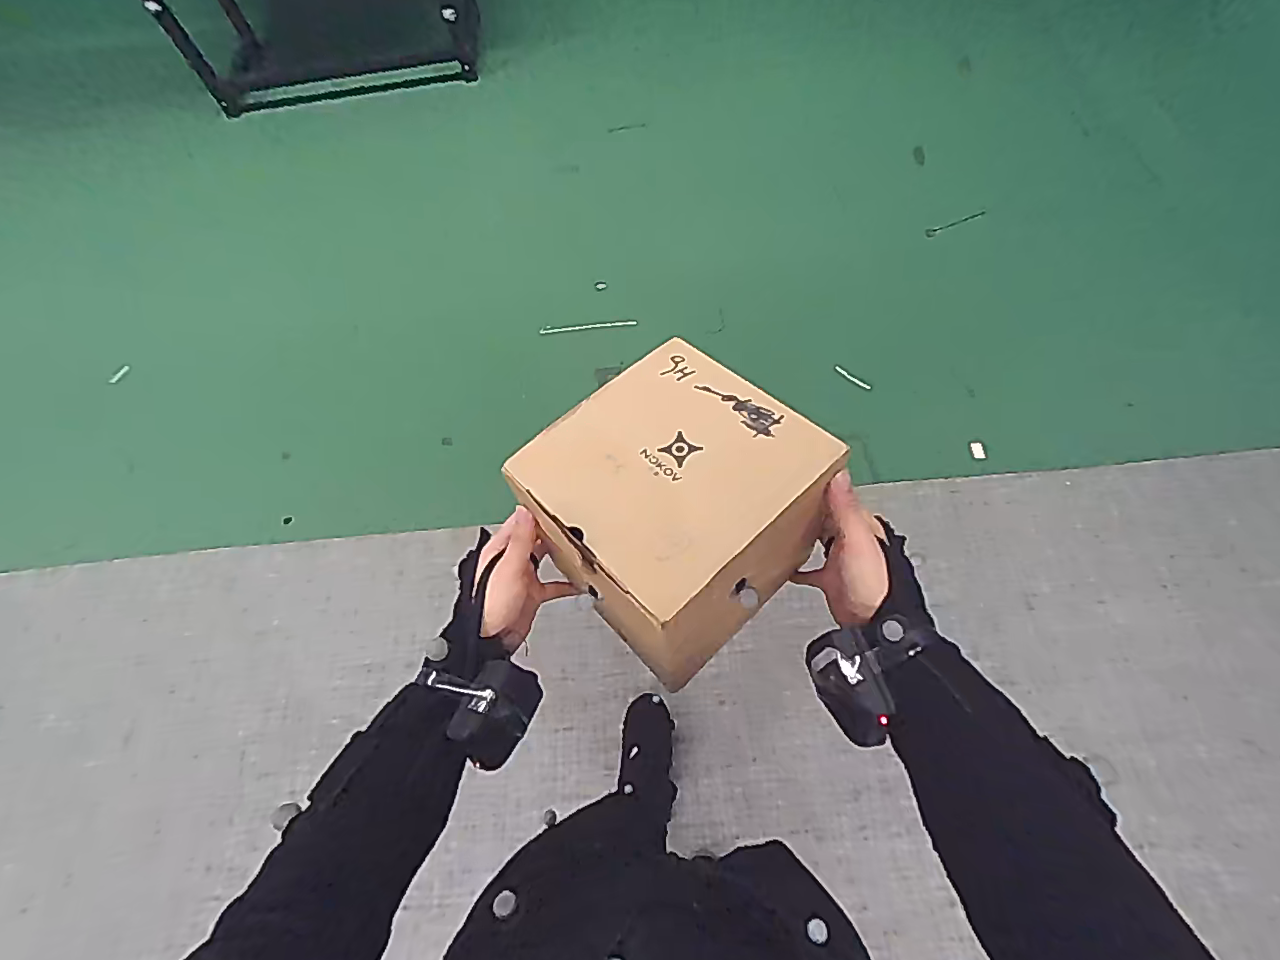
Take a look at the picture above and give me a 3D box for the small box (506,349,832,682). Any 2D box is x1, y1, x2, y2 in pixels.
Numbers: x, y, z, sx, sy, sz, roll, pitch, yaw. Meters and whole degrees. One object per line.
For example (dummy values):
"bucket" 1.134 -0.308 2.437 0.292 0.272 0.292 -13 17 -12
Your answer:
"small box" 0.027 0.034 0.445 0.179 0.176 0.168 -40 60 -18
